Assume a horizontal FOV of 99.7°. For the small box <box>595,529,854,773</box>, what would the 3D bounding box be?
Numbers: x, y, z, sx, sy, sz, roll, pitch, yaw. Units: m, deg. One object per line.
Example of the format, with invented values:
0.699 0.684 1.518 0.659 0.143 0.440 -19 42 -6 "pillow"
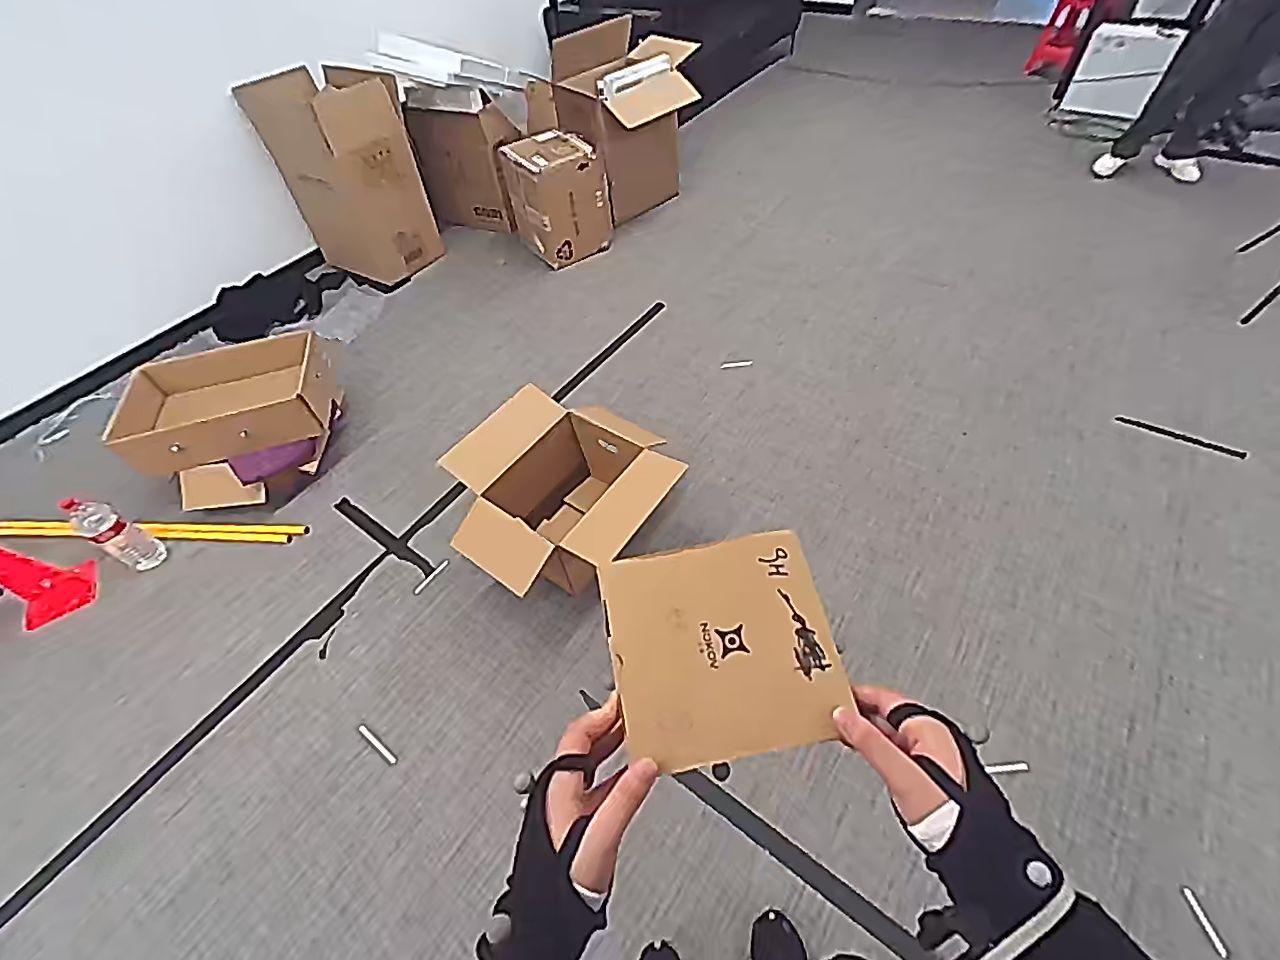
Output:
0.064 0.165 0.499 0.179 0.176 0.168 -11 62 -3 "small box"
